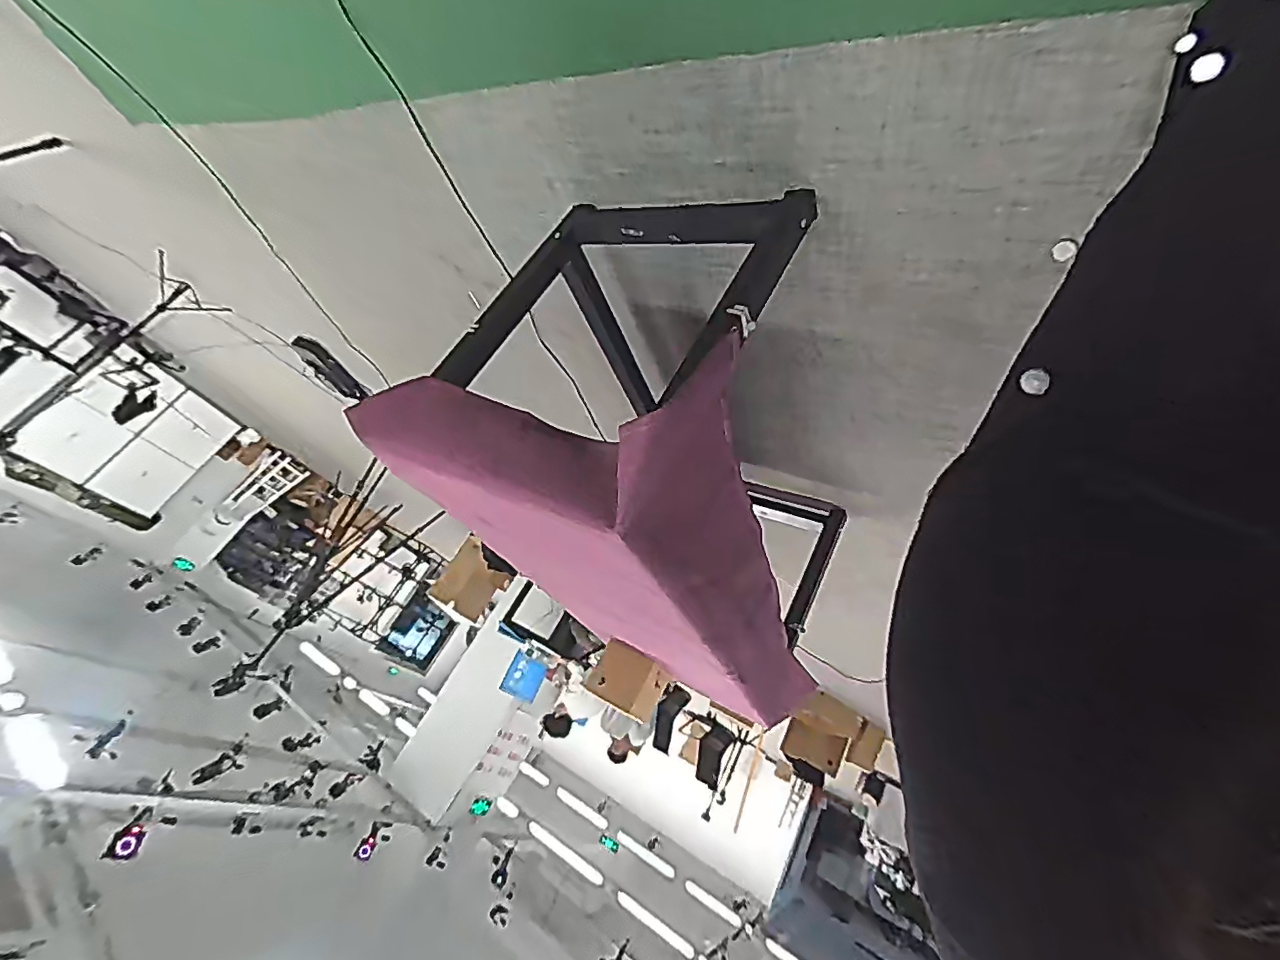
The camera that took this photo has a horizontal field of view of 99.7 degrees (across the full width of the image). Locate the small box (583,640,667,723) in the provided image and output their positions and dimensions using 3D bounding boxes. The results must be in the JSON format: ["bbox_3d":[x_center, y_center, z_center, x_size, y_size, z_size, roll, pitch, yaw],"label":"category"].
[{"bbox_3d":[-0.042,0.622,1.688,0.179,0.176,0.168,17,154,32],"label":"small box"}]
